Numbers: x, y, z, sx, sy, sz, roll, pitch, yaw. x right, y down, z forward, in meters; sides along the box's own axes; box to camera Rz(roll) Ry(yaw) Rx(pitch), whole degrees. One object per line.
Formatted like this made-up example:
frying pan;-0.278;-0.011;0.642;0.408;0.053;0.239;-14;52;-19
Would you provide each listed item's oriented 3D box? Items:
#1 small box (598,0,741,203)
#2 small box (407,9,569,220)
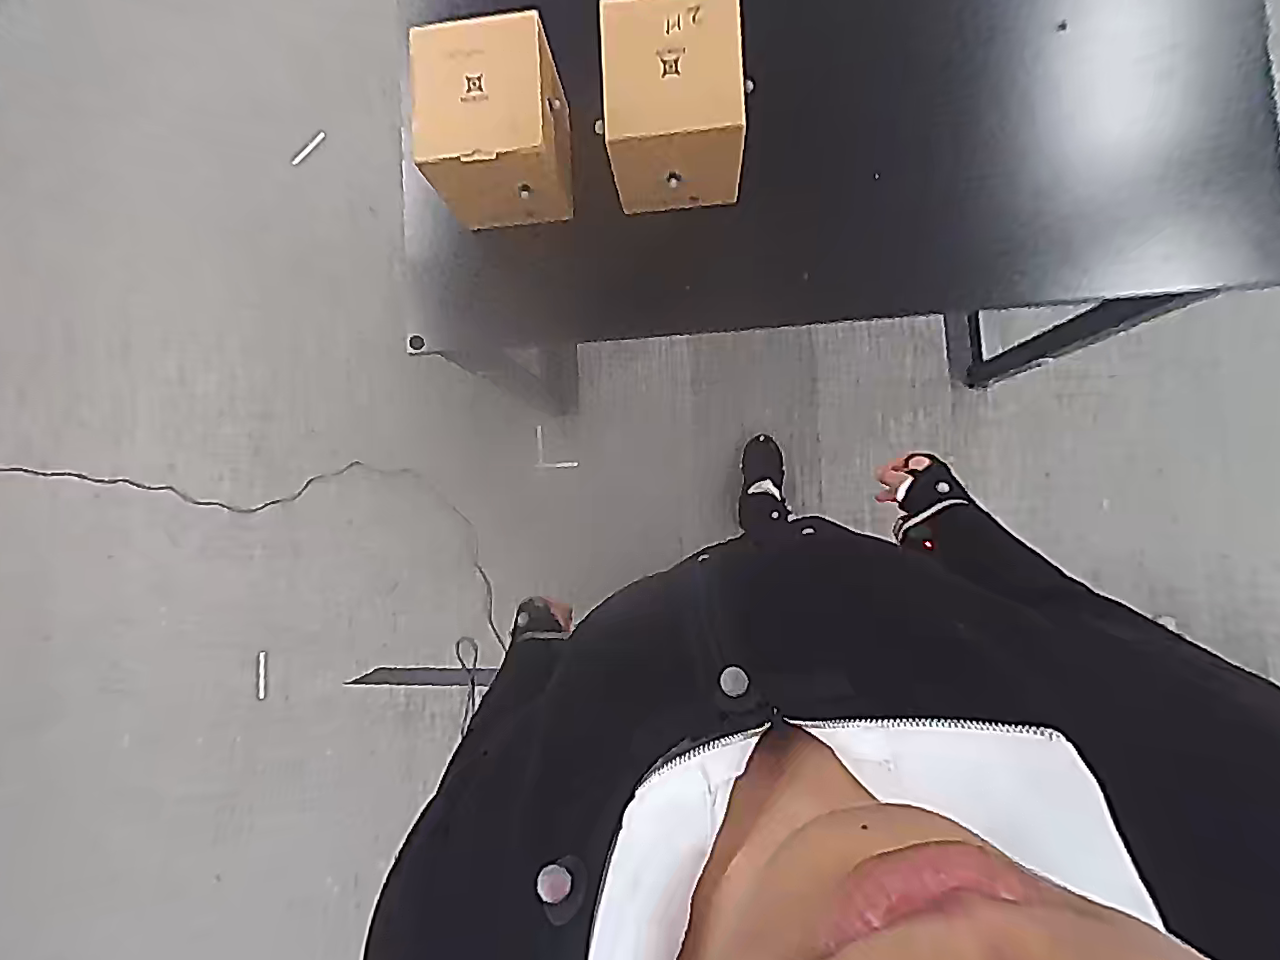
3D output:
small box;0.043;-0.488;0.710;0.168;0.176;0.179;-3;87;6
small box;-0.196;-0.477;0.738;0.168;0.176;0.179;-4;86;5
